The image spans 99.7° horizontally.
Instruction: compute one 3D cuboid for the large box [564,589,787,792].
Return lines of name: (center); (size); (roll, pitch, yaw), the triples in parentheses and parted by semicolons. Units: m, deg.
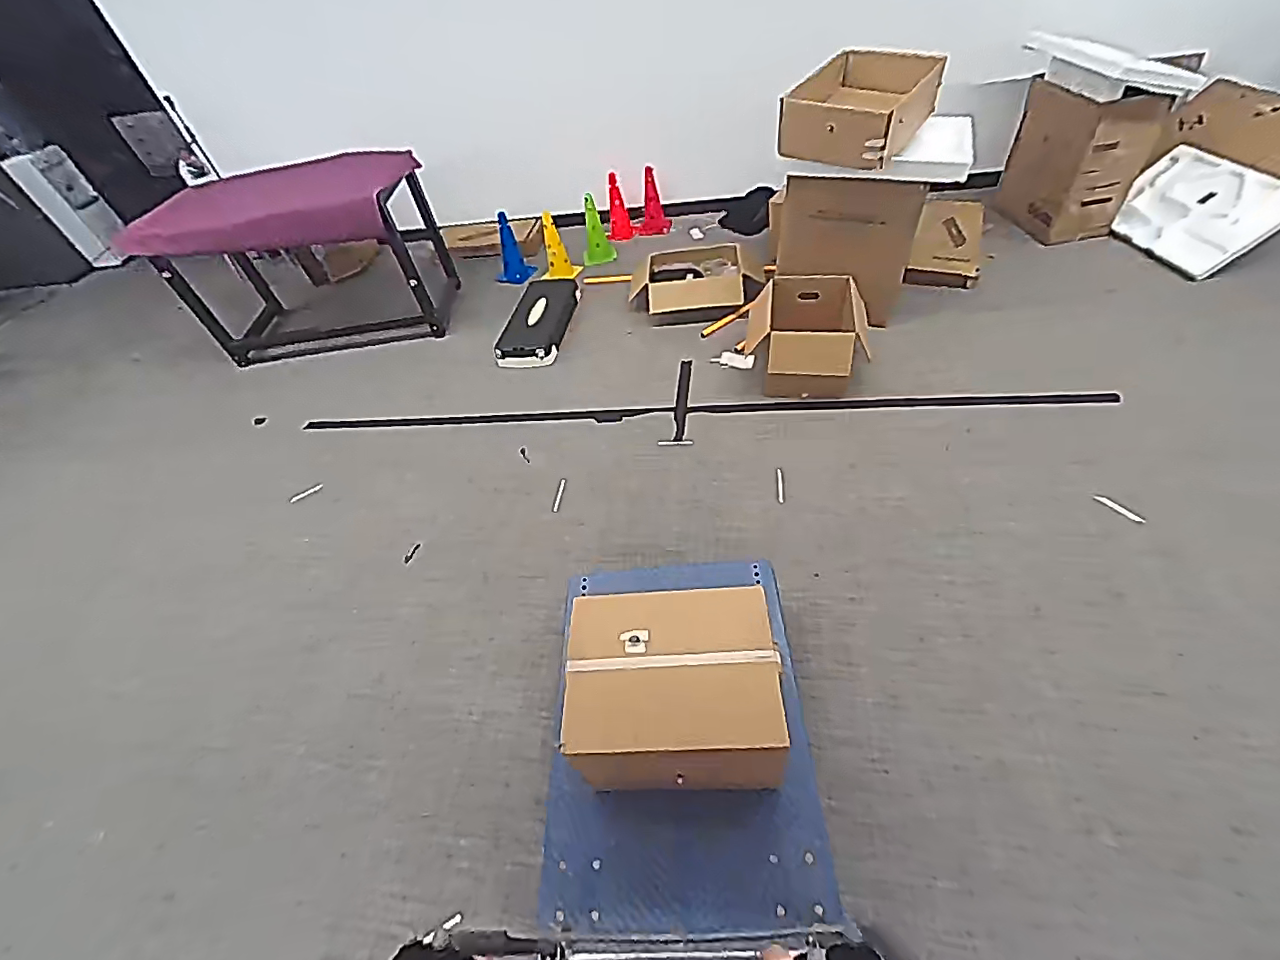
large box: (0.080, 0.461, 1.160); (0.408, 0.320, 0.320); (-6, 47, 6)
